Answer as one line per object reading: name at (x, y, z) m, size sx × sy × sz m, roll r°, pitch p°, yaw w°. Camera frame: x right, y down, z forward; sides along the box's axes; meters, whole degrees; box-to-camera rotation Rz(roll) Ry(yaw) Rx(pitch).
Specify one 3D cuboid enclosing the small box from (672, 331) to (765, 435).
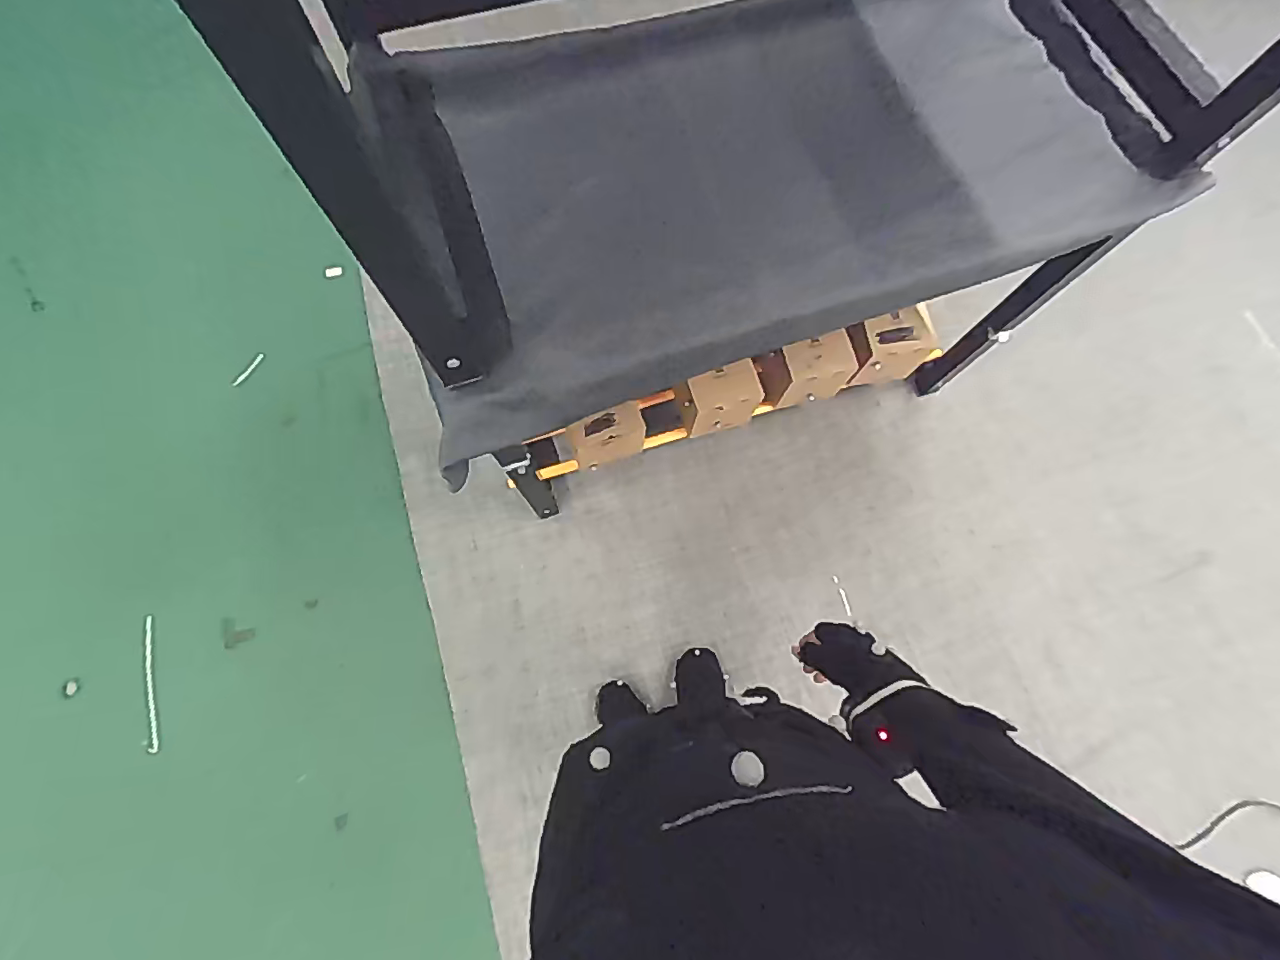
small box at (0.184, -0.234, 1.327) m, size 0.168 × 0.176 × 0.179 m, roll -16°, pitch 76°, yaw -6°
